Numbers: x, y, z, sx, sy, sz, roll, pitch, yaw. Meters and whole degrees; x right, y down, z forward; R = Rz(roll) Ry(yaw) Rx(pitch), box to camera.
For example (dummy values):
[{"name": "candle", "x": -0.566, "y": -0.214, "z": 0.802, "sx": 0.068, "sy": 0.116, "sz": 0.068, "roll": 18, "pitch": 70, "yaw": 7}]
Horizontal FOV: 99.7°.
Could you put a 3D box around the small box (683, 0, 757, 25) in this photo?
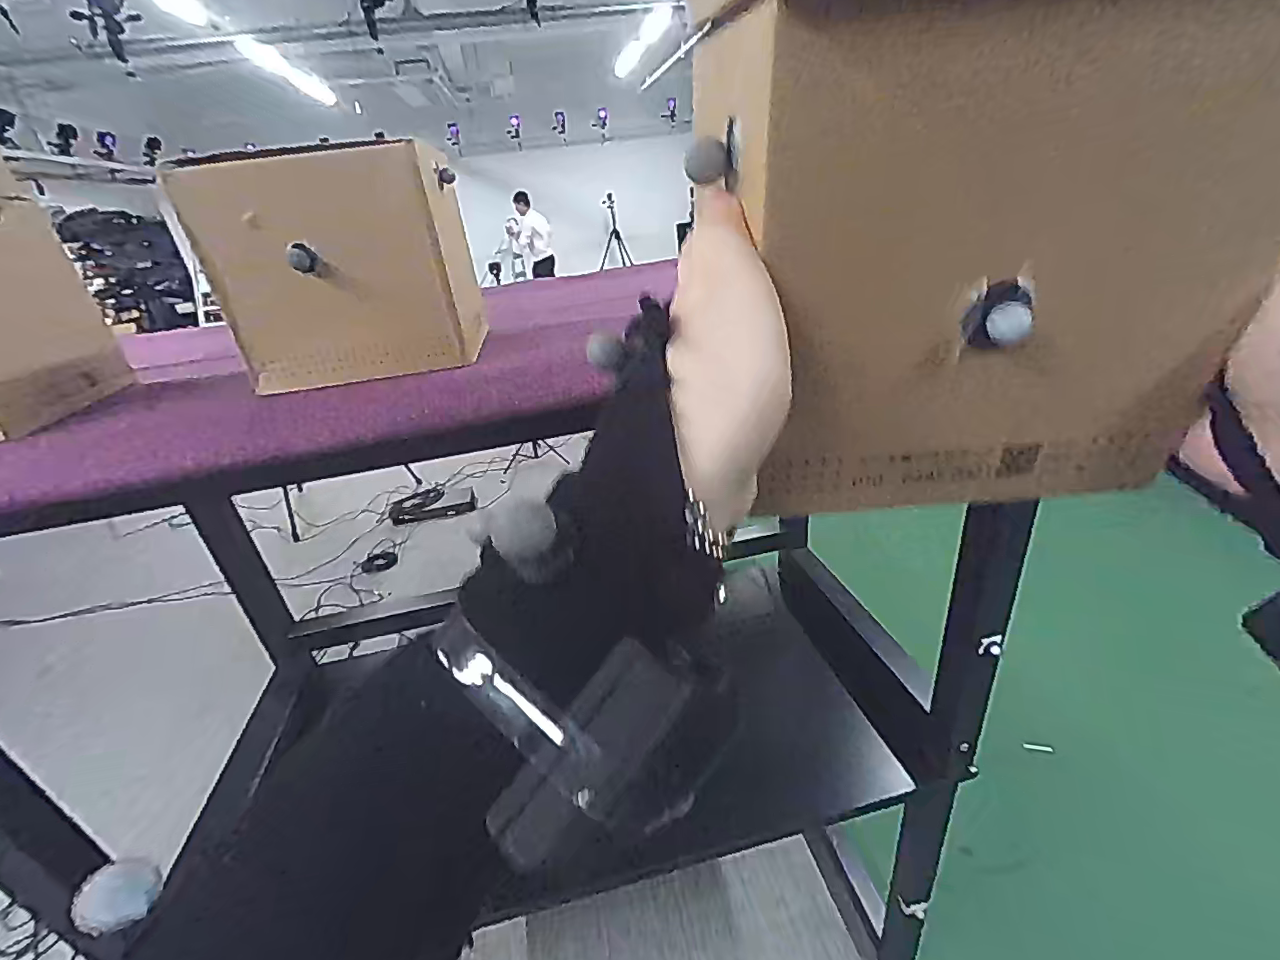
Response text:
[{"name": "small box", "x": 0.103, "y": -0.232, "z": 0.137, "sx": 0.179, "sy": 0.176, "sz": 0.168, "roll": -6, "pitch": 35, "yaw": 1}]

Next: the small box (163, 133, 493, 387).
[{"name": "small box", "x": -0.245, "y": -0.190, "z": 0.481, "sx": 0.179, "sy": 0.176, "sz": 0.168, "roll": -10, "pitch": 28, "yaw": -5}]

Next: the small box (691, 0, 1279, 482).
[{"name": "small box", "x": 0.114, "y": -0.109, "z": 0.244, "sx": 0.168, "sy": 0.176, "sz": 0.179, "roll": -4, "pitch": 35, "yaw": 1}]
